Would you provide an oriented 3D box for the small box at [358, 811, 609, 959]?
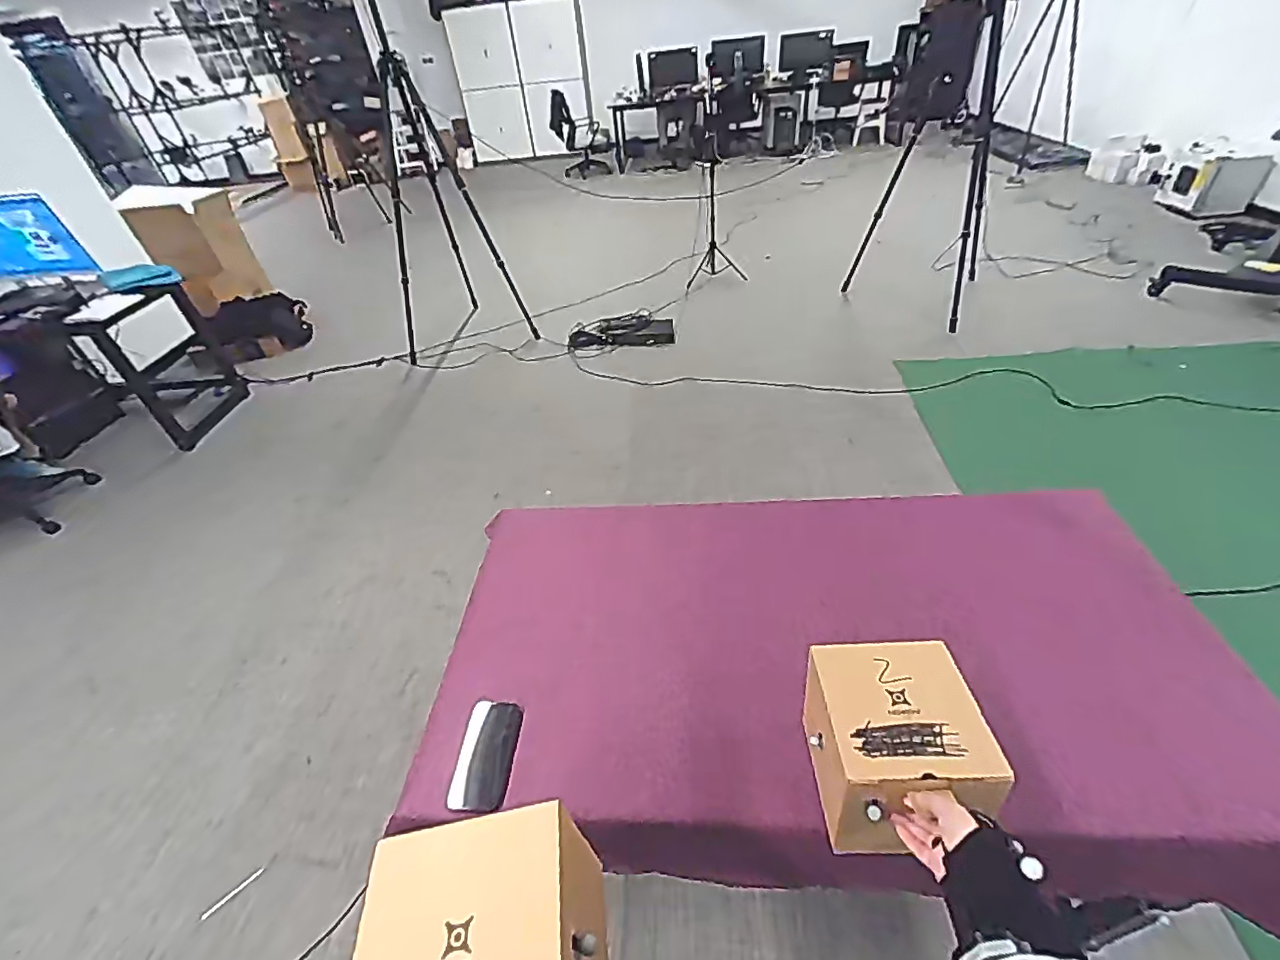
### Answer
[{"bbox_3d":[-0.121,0.418,0.453,0.168,0.176,0.179,-12,39,0],"label":"small box"}]
